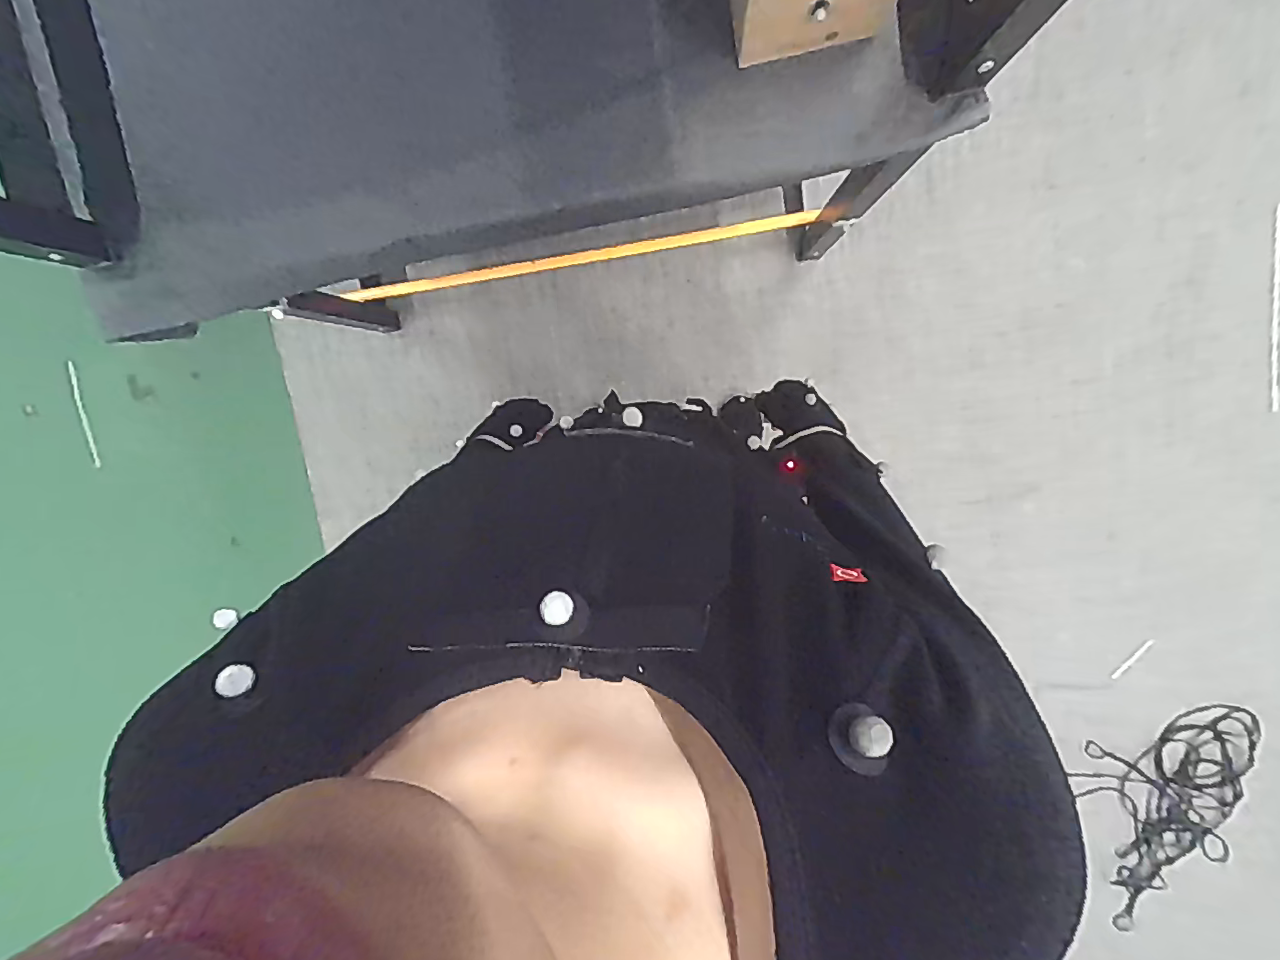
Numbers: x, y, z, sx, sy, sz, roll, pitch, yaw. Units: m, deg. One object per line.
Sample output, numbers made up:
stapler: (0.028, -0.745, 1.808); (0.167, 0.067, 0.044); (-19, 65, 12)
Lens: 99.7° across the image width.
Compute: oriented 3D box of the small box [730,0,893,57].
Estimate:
small box: (0.179, -0.575, 0.549); (0.168, 0.176, 0.179); (-9, 98, 6)
